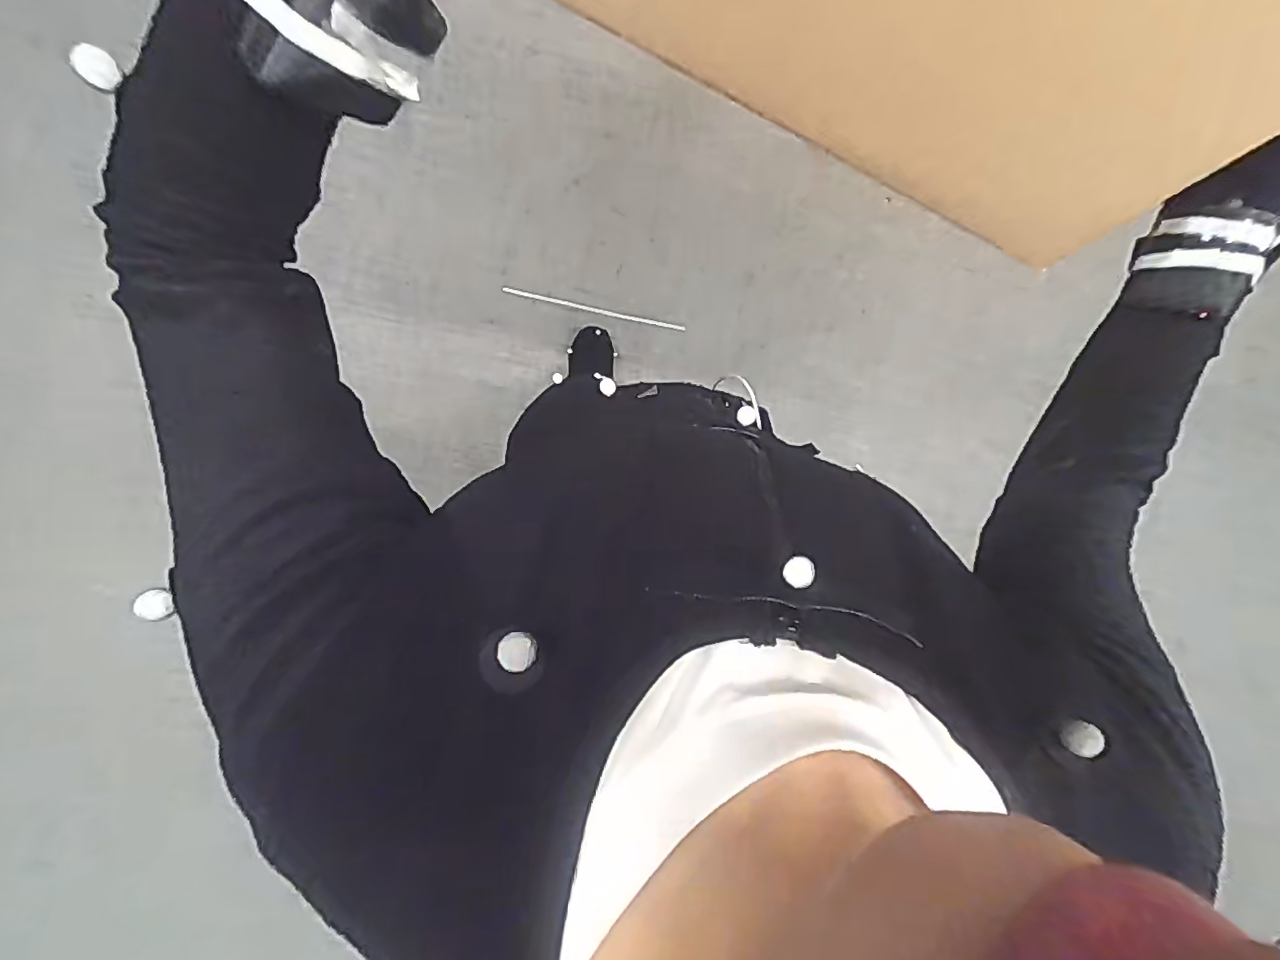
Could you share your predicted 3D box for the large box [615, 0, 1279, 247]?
[{"bbox_3d":[0.183,-0.380,0.240,0.408,0.320,0.320,9,68,-27],"label":"large box"}]
